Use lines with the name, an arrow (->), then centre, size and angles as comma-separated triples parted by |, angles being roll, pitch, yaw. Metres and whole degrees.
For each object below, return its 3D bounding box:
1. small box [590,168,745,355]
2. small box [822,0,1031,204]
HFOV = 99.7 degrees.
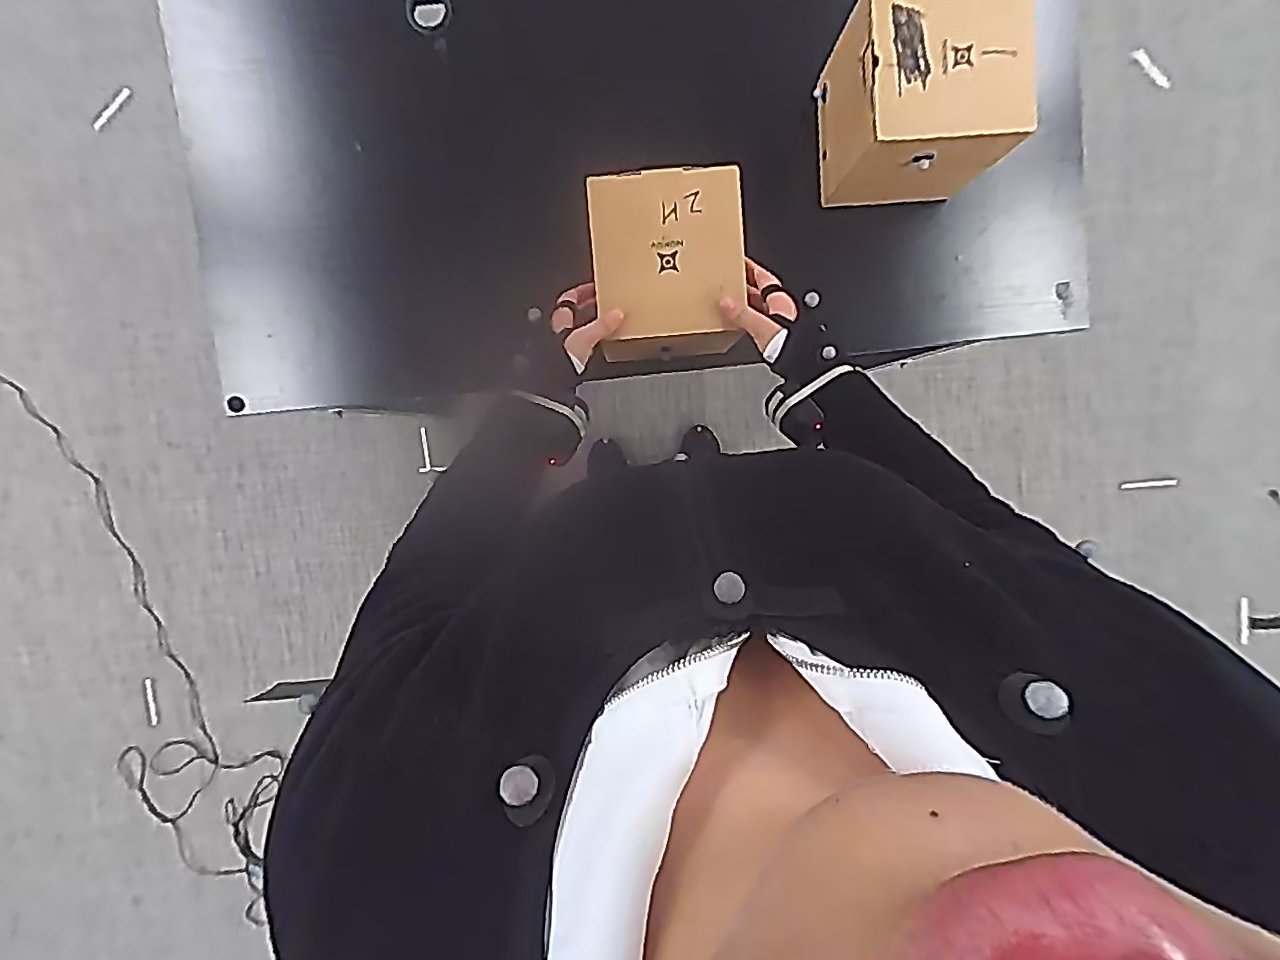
small box -> 0.032, -0.254, 0.673 | 0.168, 0.176, 0.179 | -4, 94, 0
small box -> 0.329, -0.455, 0.656 | 0.179, 0.176, 0.168 | -4, 95, 0
